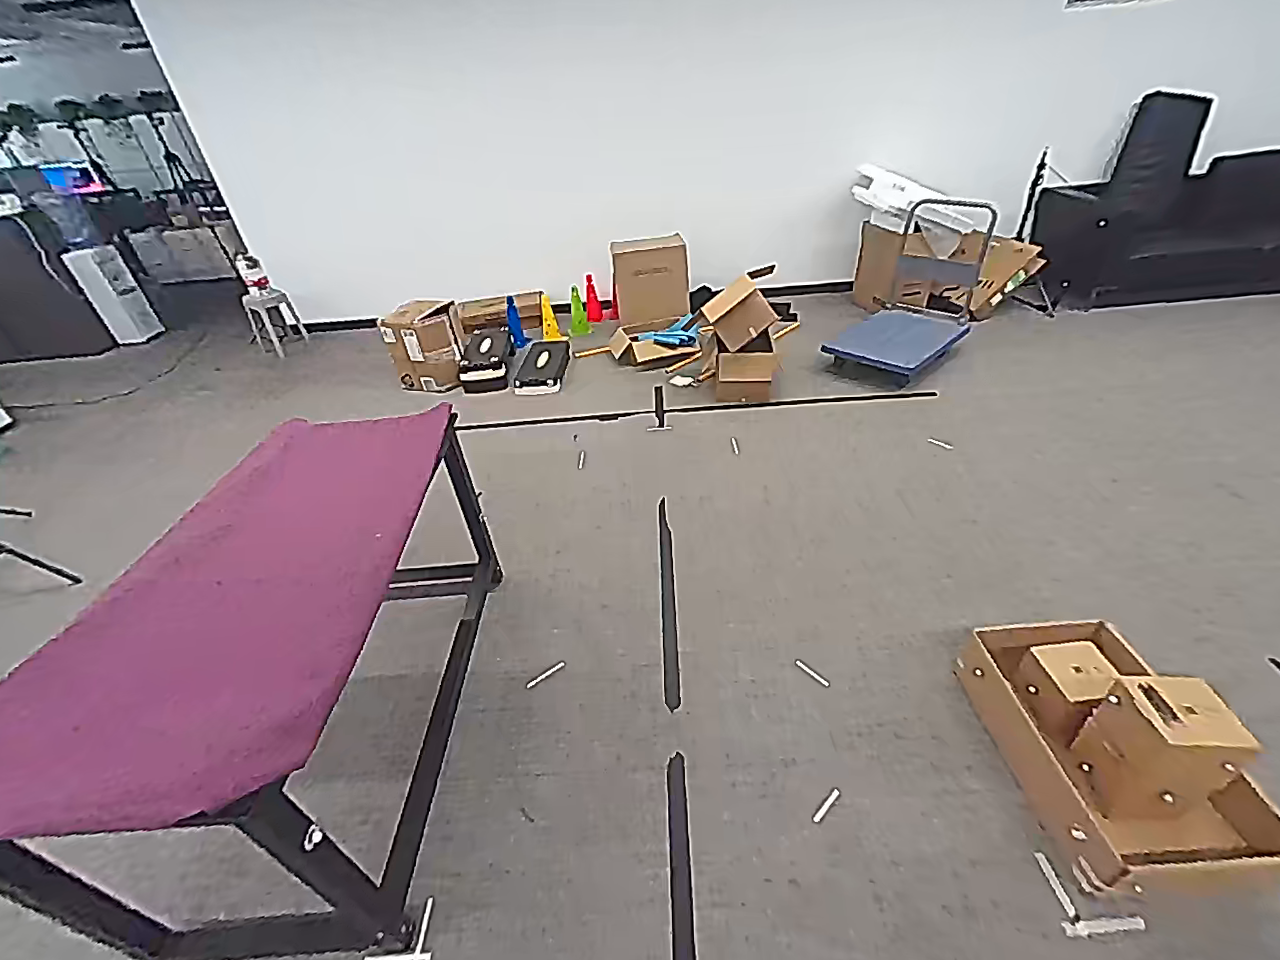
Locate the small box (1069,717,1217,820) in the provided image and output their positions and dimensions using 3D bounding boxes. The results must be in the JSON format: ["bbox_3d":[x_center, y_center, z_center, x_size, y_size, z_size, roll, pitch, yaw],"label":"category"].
[{"bbox_3d":[1.199,0.697,1.307,0.179,0.176,0.168,-3,34,6],"label":"small box"}]

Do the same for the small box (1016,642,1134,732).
[{"bbox_3d":[1.173,0.569,1.480,0.179,0.176,0.168,-5,37,0],"label":"small box"}]
